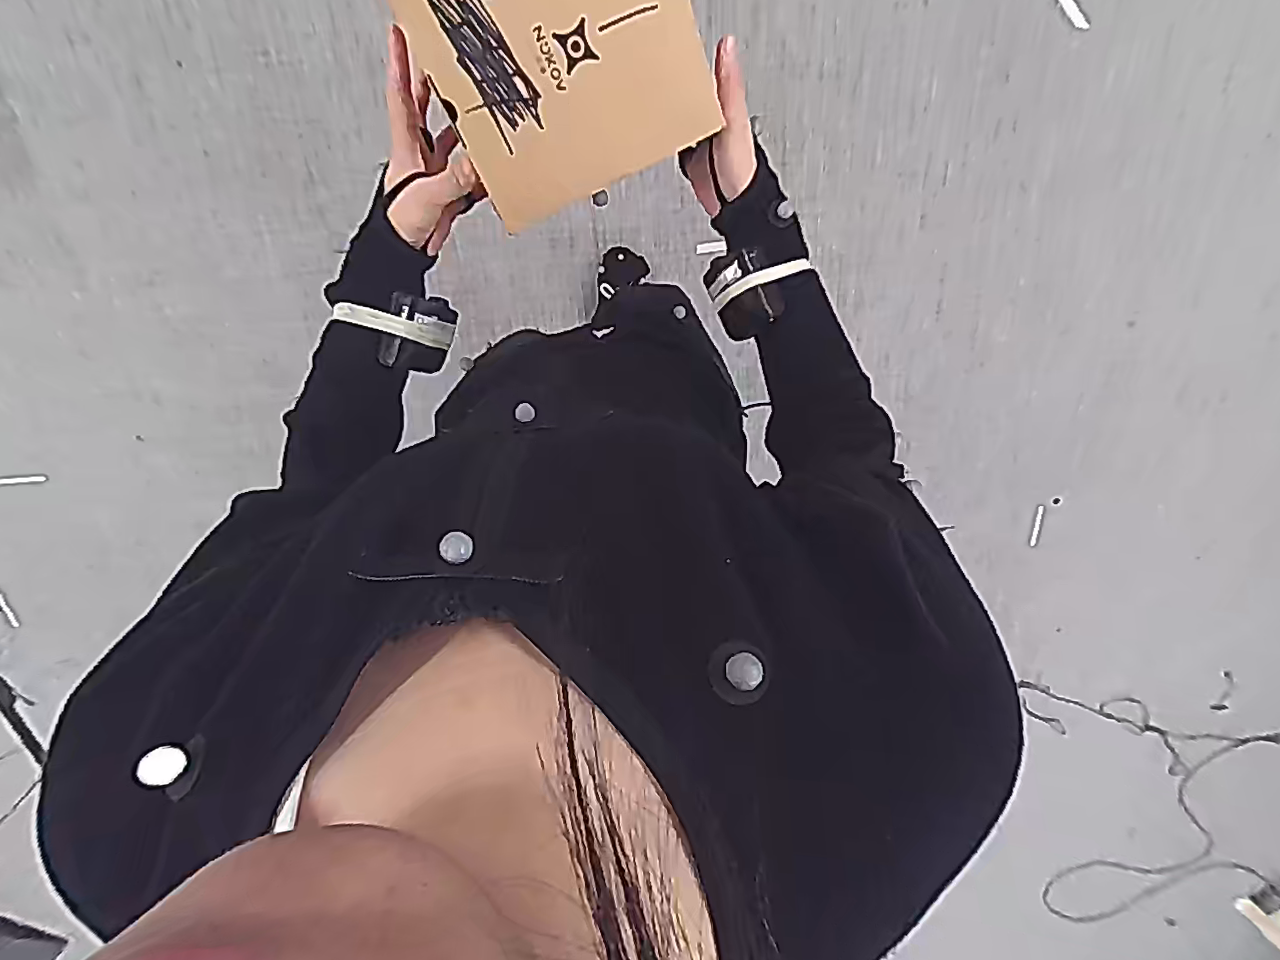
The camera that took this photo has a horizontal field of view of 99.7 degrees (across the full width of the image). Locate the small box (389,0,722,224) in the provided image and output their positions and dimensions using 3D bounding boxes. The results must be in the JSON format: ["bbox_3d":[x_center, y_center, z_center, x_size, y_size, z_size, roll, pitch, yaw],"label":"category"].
[{"bbox_3d":[-0.060,-0.322,0.414,0.179,0.176,0.168,-24,123,5],"label":"small box"}]
